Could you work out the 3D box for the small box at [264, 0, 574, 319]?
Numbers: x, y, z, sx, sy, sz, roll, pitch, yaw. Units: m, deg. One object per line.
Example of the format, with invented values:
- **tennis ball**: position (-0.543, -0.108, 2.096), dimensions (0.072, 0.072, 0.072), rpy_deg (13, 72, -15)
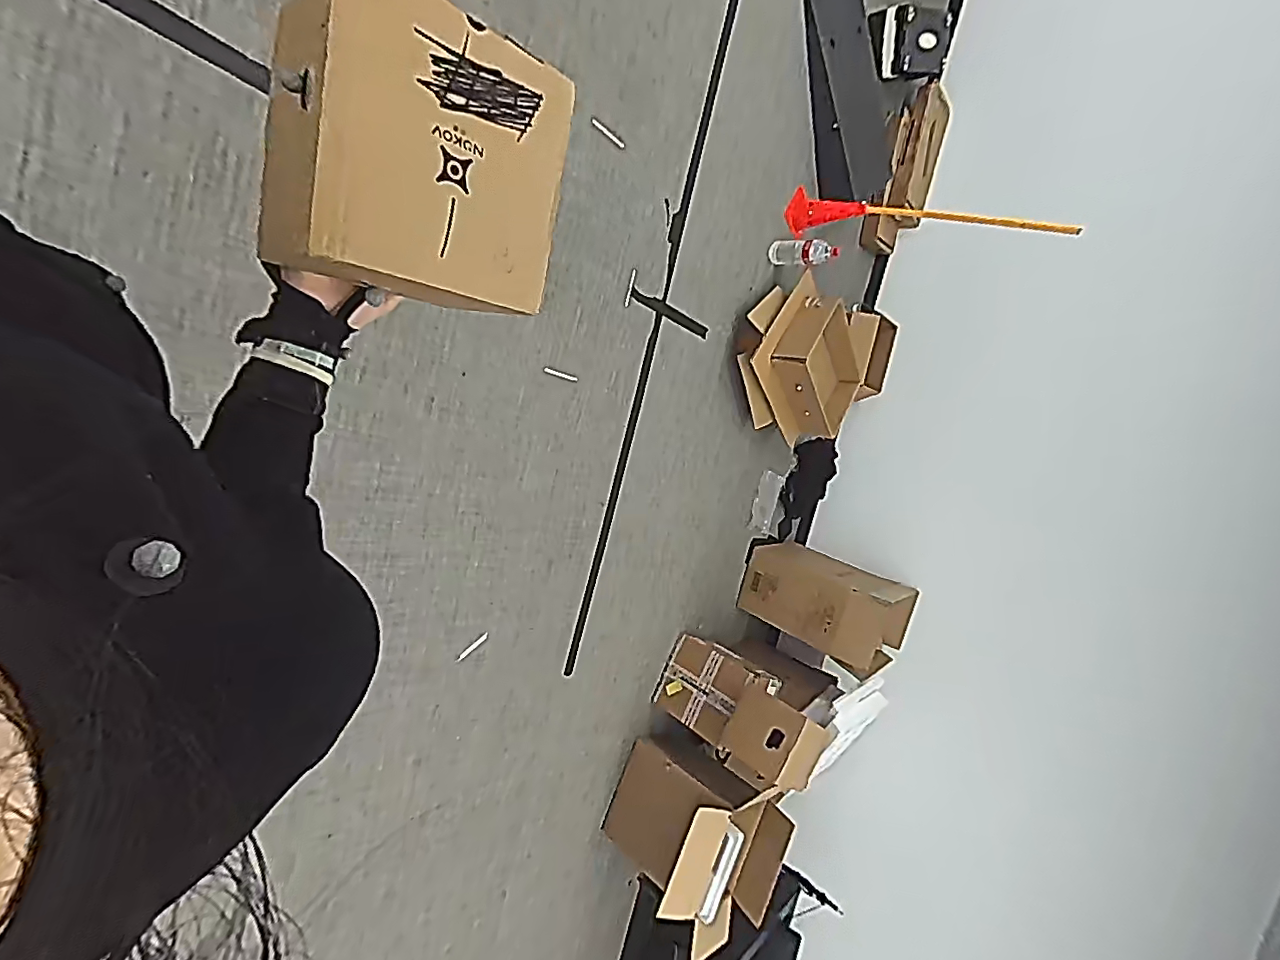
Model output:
- **small box**: position (-0.180, -0.239, 0.428), dimensions (0.168, 0.176, 0.179), rpy_deg (2, 104, -45)
